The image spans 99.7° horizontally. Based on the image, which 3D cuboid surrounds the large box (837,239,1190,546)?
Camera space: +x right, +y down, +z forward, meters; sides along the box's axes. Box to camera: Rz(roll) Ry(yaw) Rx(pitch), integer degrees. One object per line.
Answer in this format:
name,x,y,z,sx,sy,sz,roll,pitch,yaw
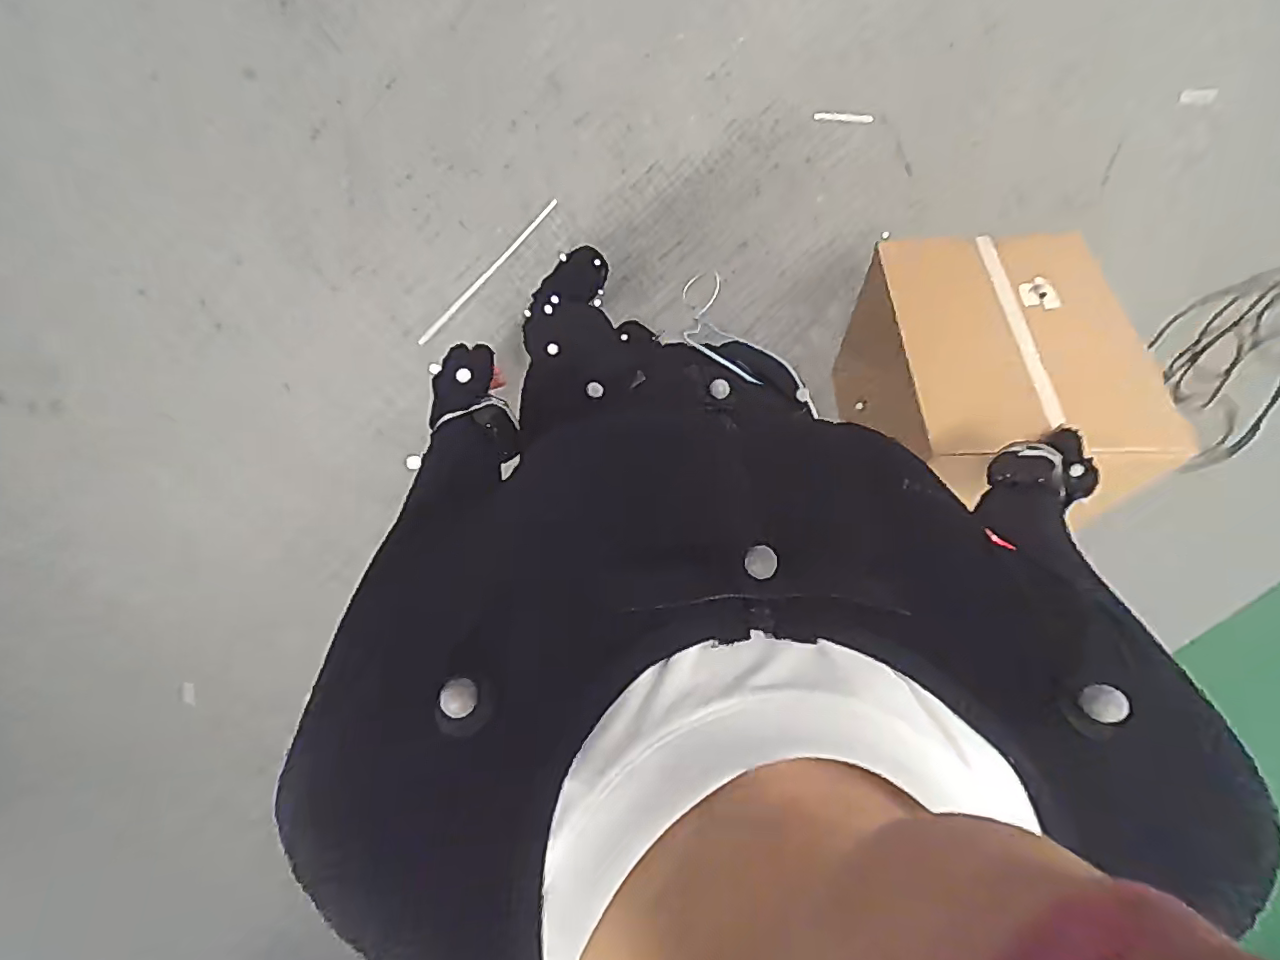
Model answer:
large box,0.543,-0.131,0.899,0.320,0.408,0.320,0,151,4
